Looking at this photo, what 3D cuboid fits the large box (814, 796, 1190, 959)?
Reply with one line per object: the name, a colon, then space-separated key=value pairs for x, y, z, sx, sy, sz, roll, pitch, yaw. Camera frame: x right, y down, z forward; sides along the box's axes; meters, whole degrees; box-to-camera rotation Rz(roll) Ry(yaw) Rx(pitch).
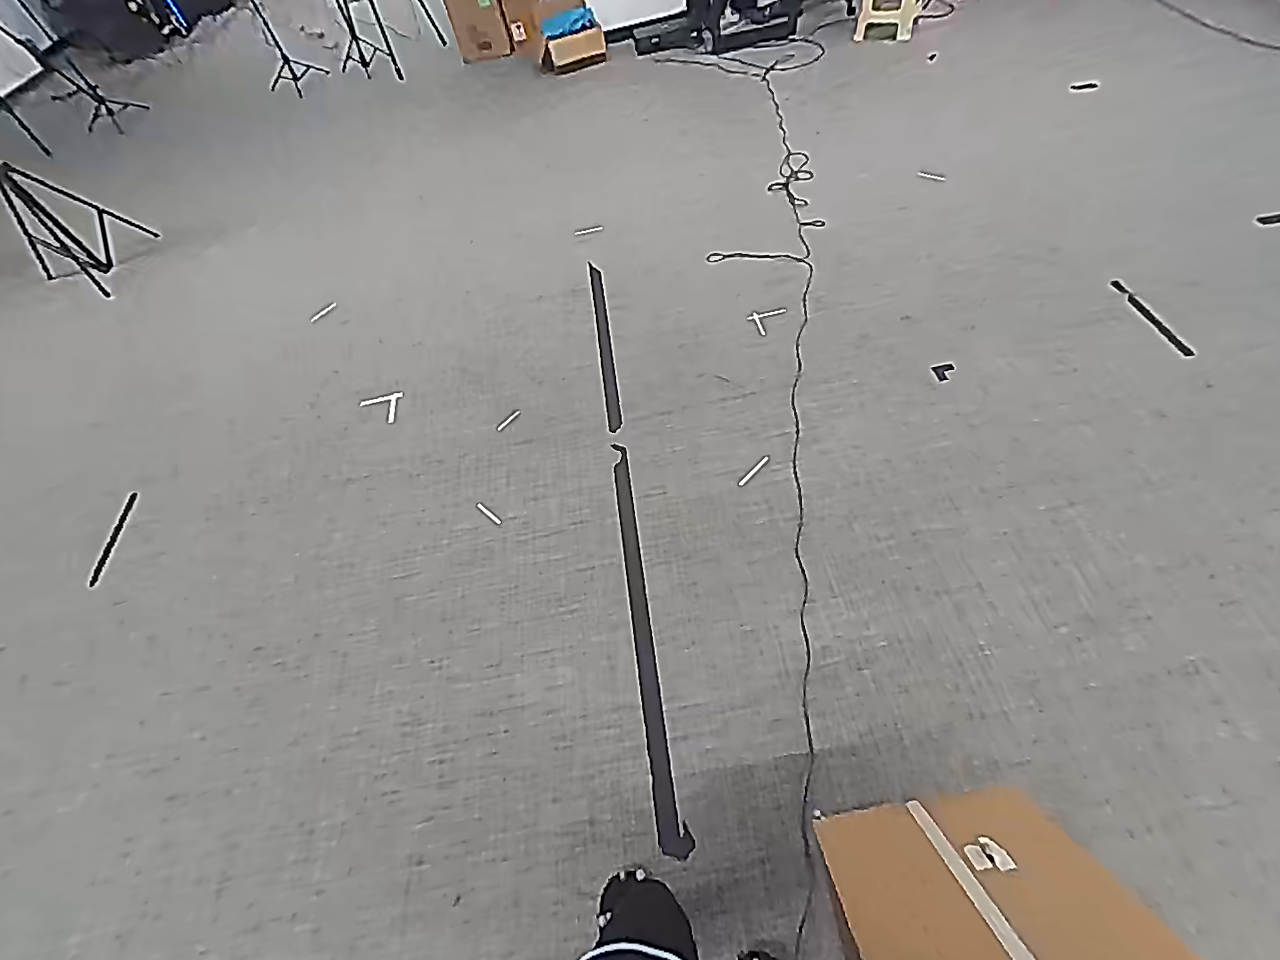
large box: x=0.442 y=0.662 z=0.642 sx=0.320 sy=0.408 sz=0.320 roll=-12 pitch=88 yaw=4
